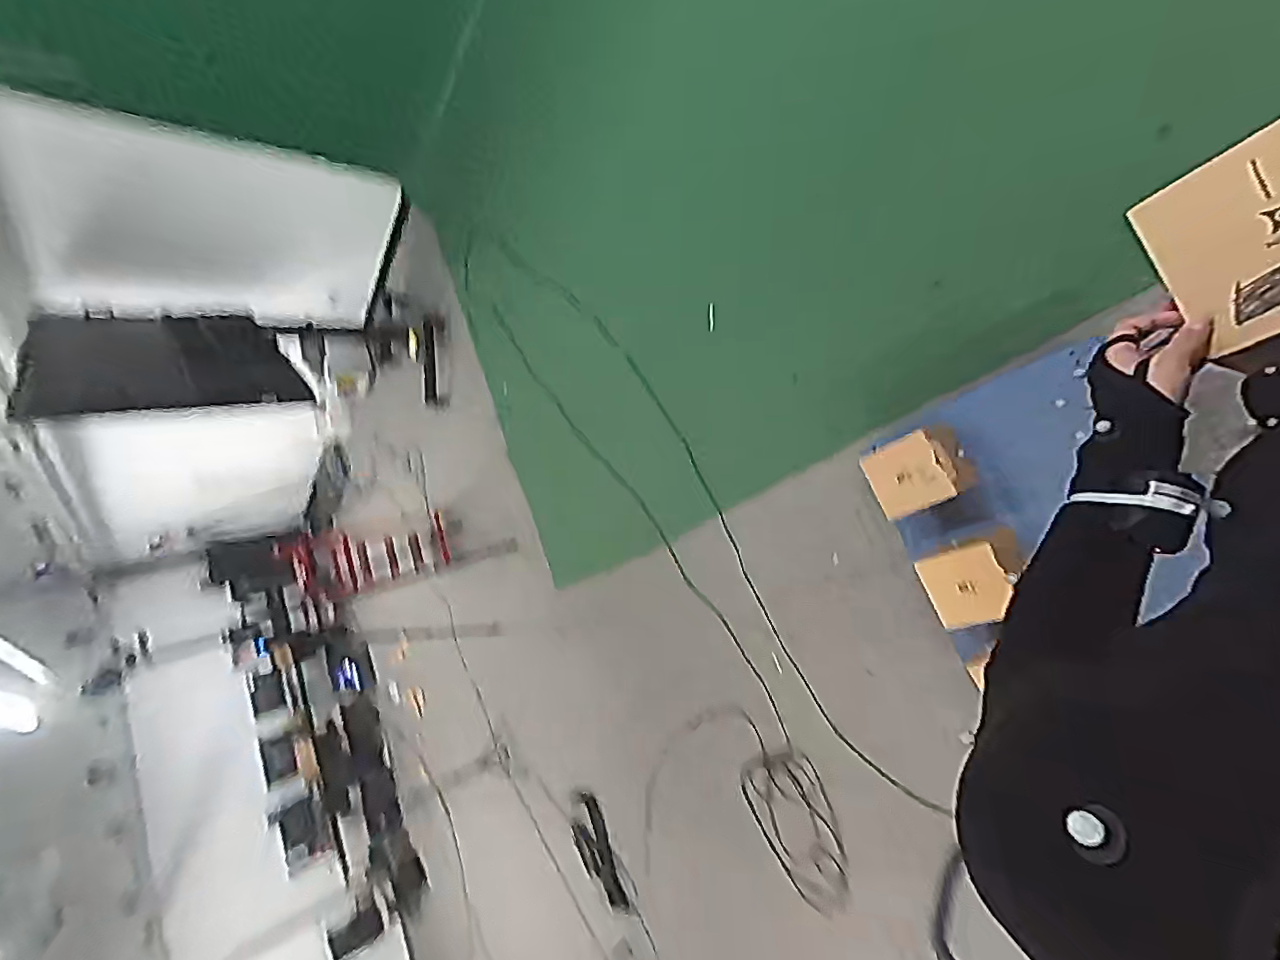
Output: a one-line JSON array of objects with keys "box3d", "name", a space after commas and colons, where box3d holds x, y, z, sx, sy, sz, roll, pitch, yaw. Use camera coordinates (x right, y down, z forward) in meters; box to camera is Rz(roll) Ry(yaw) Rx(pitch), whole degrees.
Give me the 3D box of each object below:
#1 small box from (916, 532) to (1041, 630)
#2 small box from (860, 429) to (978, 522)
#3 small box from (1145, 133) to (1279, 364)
[{"box3d": [0.800, 0.237, 1.279, 0.179, 0.176, 0.168, -34, 73, 45], "name": "small box"}, {"box3d": [0.691, -0.014, 1.339, 0.179, 0.176, 0.168, -36, 73, 45], "name": "small box"}, {"box3d": [0.639, -0.221, 0.510, 0.168, 0.176, 0.179, -31, 66, 52], "name": "small box"}]
